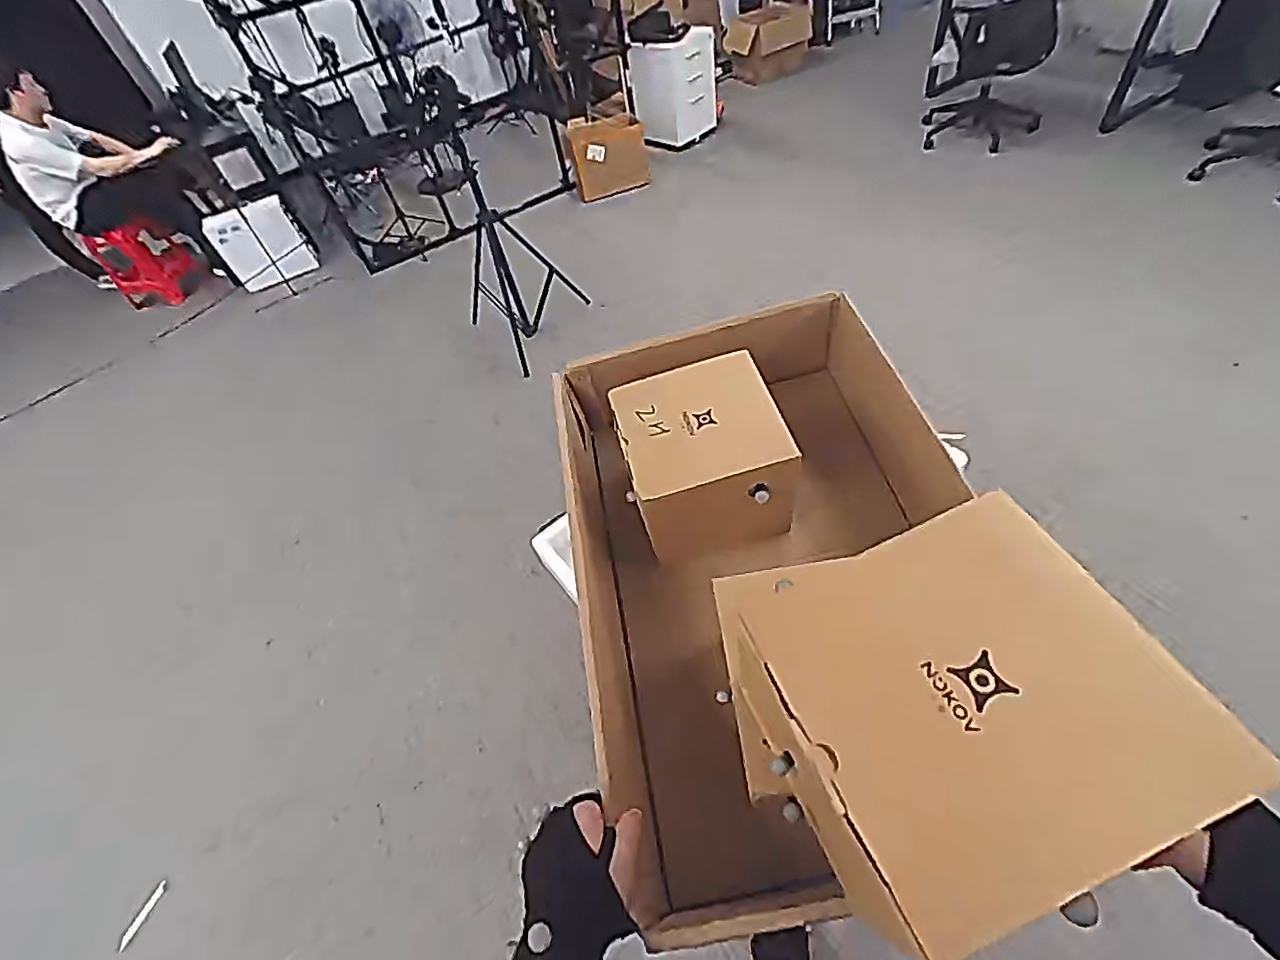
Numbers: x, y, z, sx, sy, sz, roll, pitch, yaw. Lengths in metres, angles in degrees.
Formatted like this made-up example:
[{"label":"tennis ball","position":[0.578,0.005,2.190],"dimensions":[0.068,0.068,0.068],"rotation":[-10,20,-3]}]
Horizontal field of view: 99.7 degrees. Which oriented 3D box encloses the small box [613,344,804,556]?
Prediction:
[{"label":"small box","position":[0.079,-0.030,0.660],"dimensions":[0.179,0.176,0.168],"rotation":[-16,55,0]}]
